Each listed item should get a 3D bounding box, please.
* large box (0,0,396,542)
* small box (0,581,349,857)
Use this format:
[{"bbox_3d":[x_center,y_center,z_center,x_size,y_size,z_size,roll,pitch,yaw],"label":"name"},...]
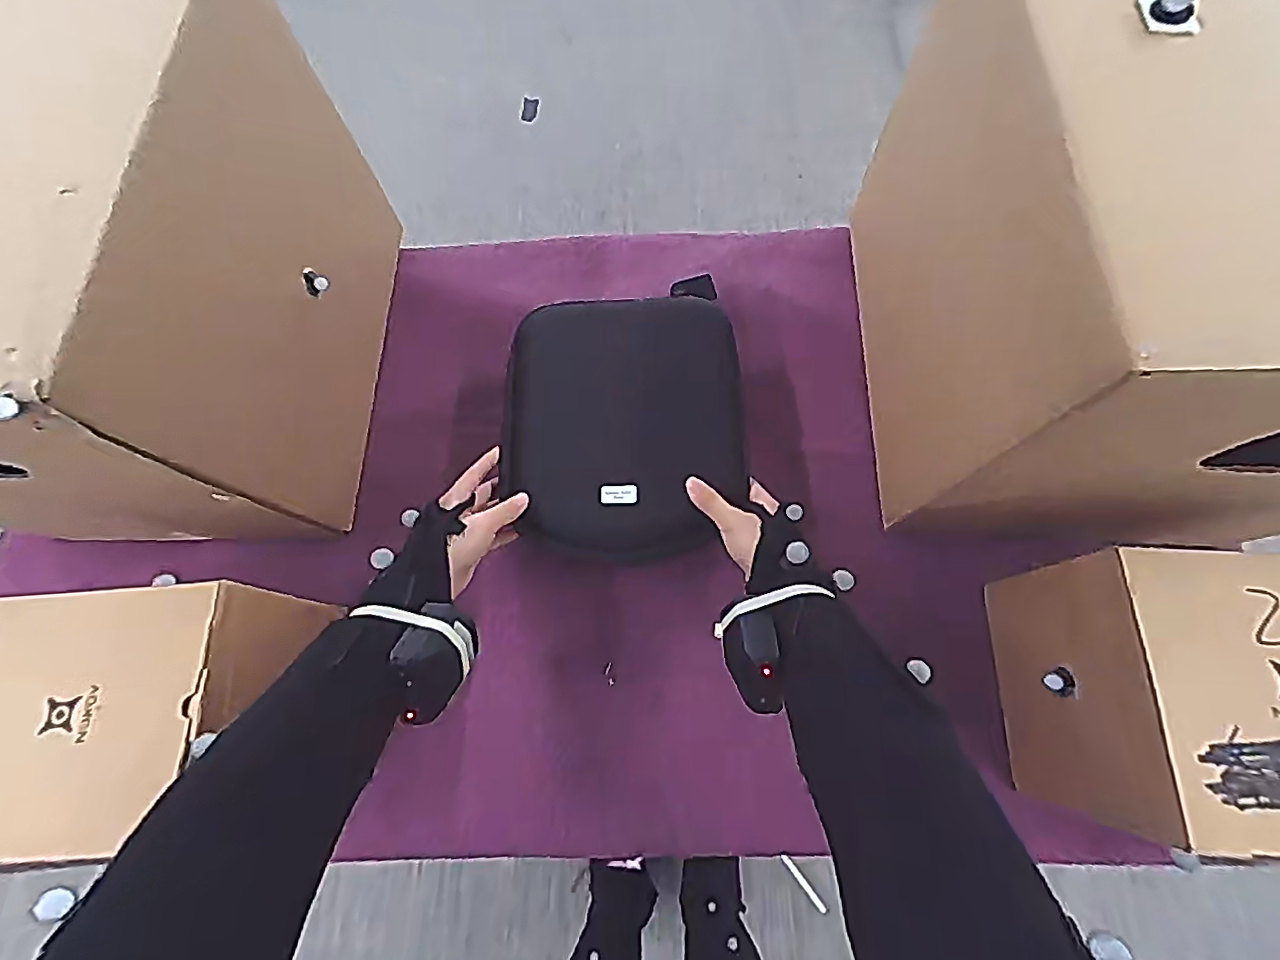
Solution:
[{"bbox_3d":[-0.452,-0.171,0.490,0.320,0.320,0.408,-2,72,1],"label":"large box"},{"bbox_3d":[-0.372,0.184,0.434,0.179,0.176,0.168,-5,69,0],"label":"small box"}]
